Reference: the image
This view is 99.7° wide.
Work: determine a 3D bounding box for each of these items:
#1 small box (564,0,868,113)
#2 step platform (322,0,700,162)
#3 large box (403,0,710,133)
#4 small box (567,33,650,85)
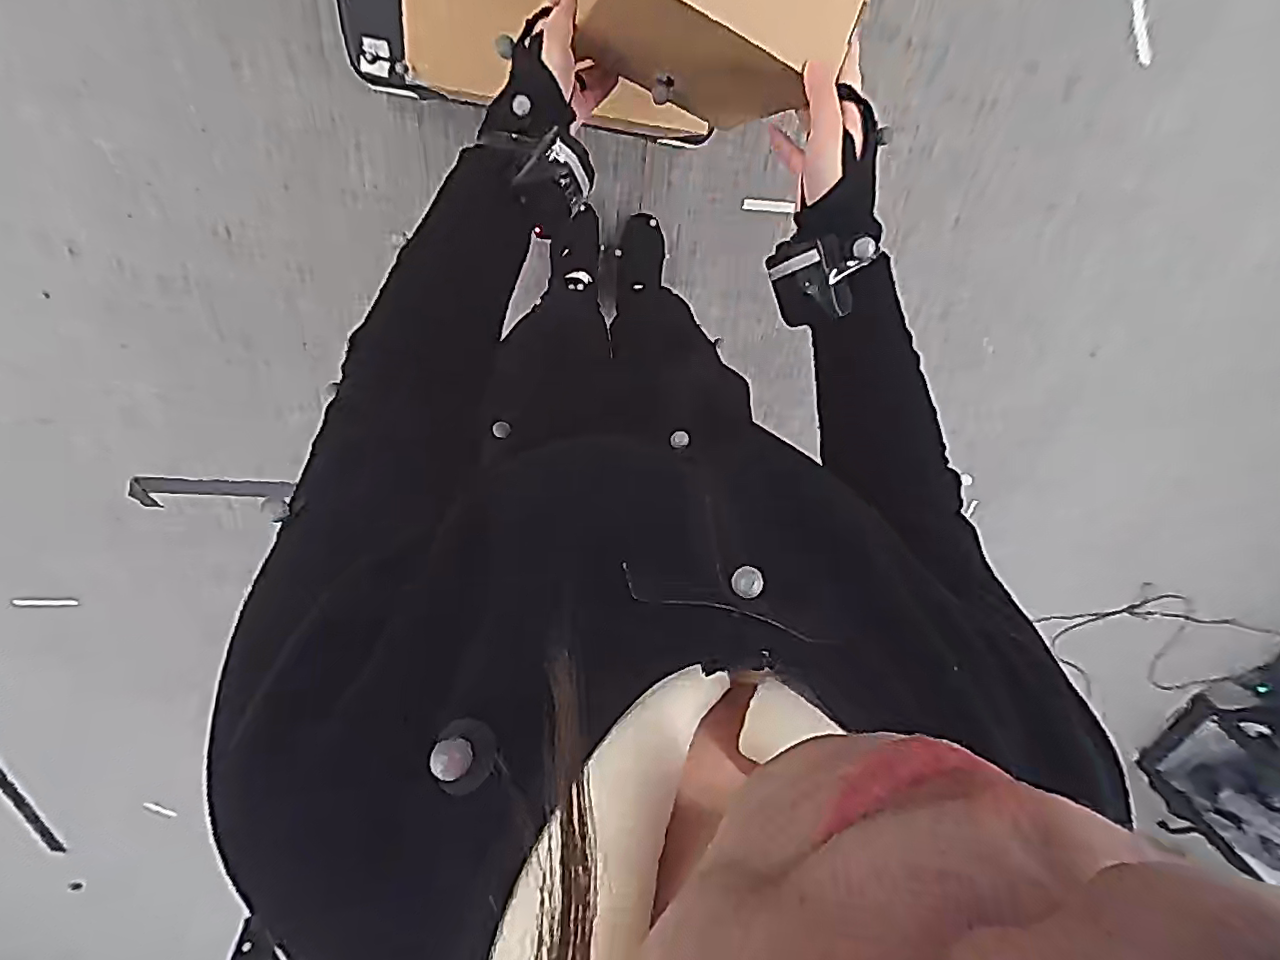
[{"bbox_3d":[0.062,-0.403,0.401,0.179,0.176,0.168,9,108,-26],"label":"small box"},{"bbox_3d":[-0.187,-0.814,0.973,0.684,0.204,0.286,8,120,-13],"label":"step platform"},{"bbox_3d":[-0.098,-0.703,0.773,0.408,0.320,0.320,3,120,-10],"label":"large box"},{"bbox_3d":[0.015,-0.548,0.596,0.179,0.176,0.168,4,121,-11],"label":"small box"}]
